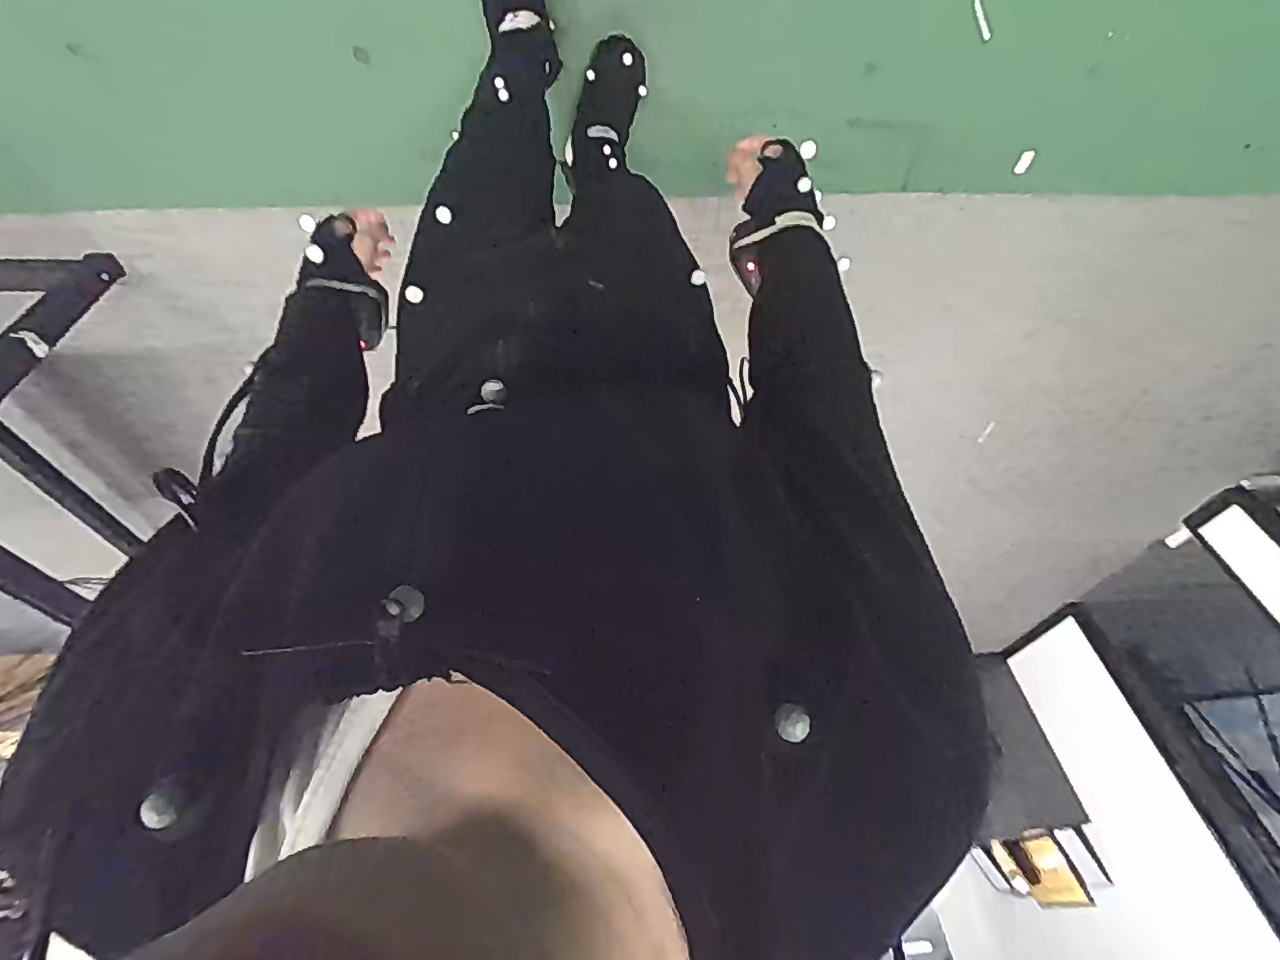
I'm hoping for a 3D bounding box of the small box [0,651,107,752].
[{"bbox_3d":[-1.380,0.497,1.212,0.179,0.176,0.168,-2,142,-4],"label":"small box"}]
